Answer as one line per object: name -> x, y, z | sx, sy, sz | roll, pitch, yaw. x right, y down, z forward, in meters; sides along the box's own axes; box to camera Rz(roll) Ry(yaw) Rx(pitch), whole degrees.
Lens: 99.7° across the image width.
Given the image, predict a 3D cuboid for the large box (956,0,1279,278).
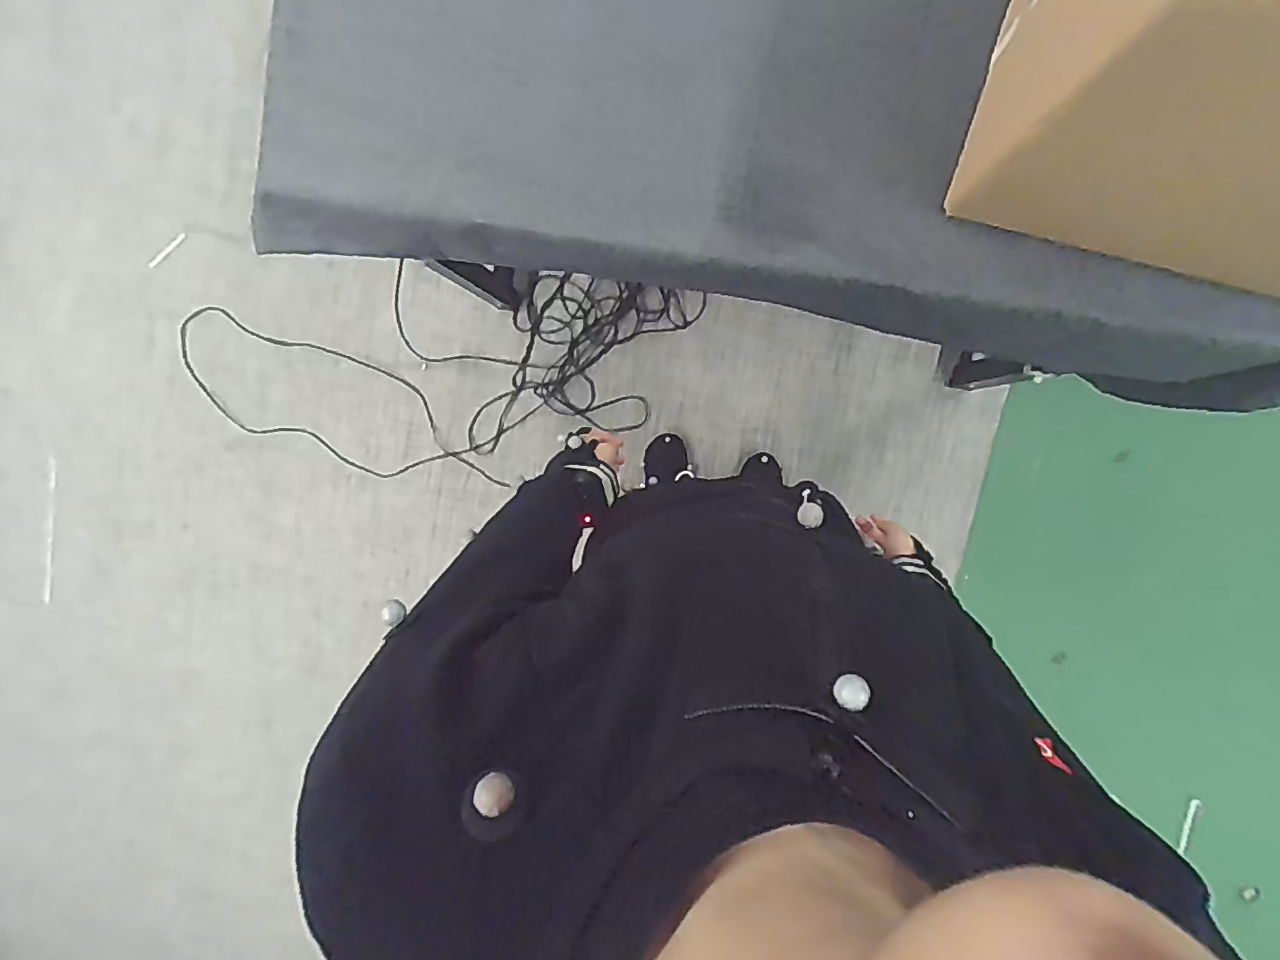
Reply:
large box -> 0.540, -0.372, 0.395 | 0.408, 0.320, 0.320 | 16, 97, 4
